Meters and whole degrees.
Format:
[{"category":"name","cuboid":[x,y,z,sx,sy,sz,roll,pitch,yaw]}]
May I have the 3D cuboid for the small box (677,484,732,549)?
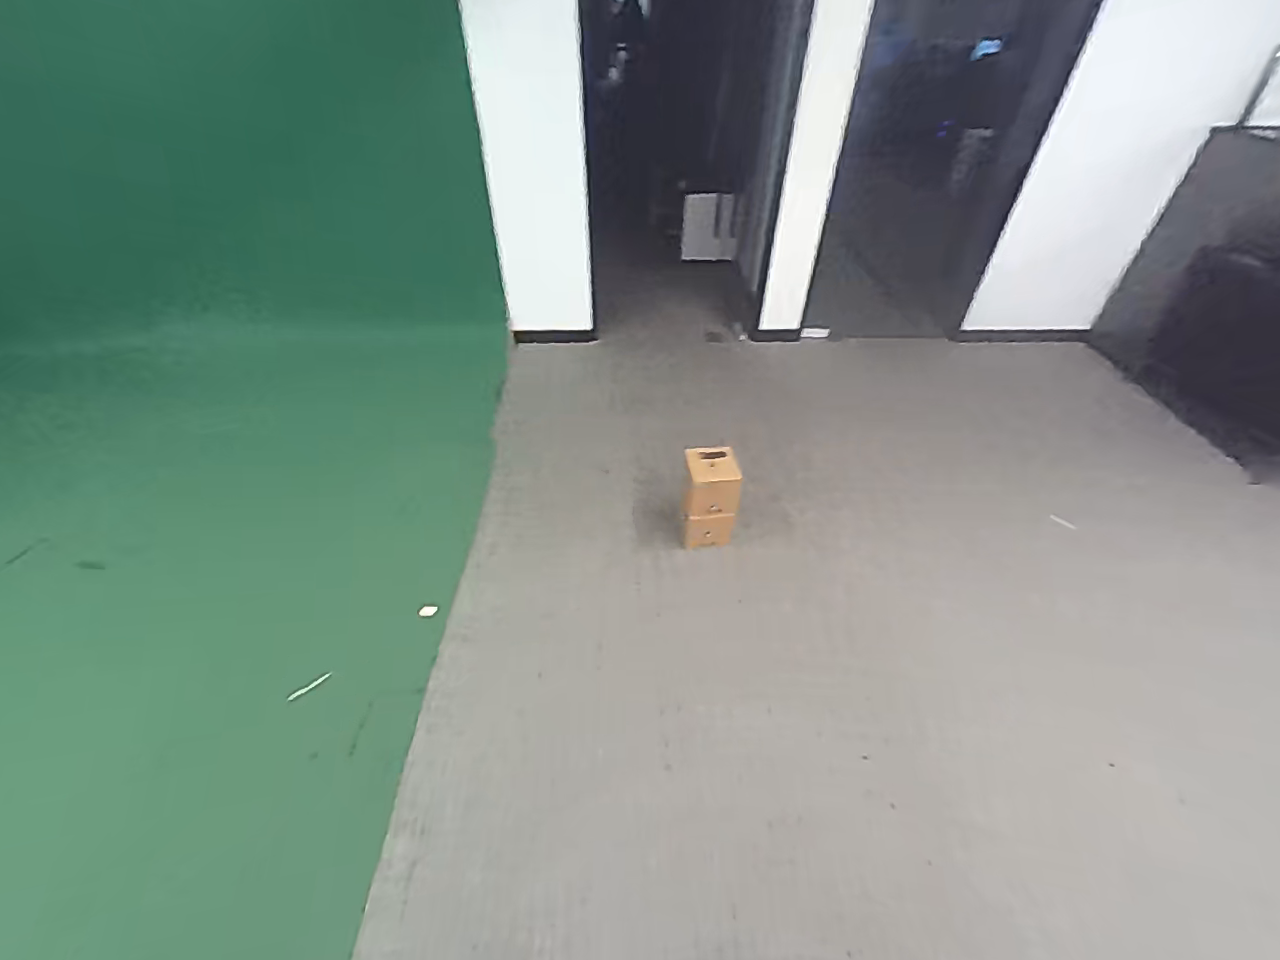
[{"category":"small box","cuboid":[0.234,0.140,1.994,0.168,0.176,0.179,-4,42,-7]}]
